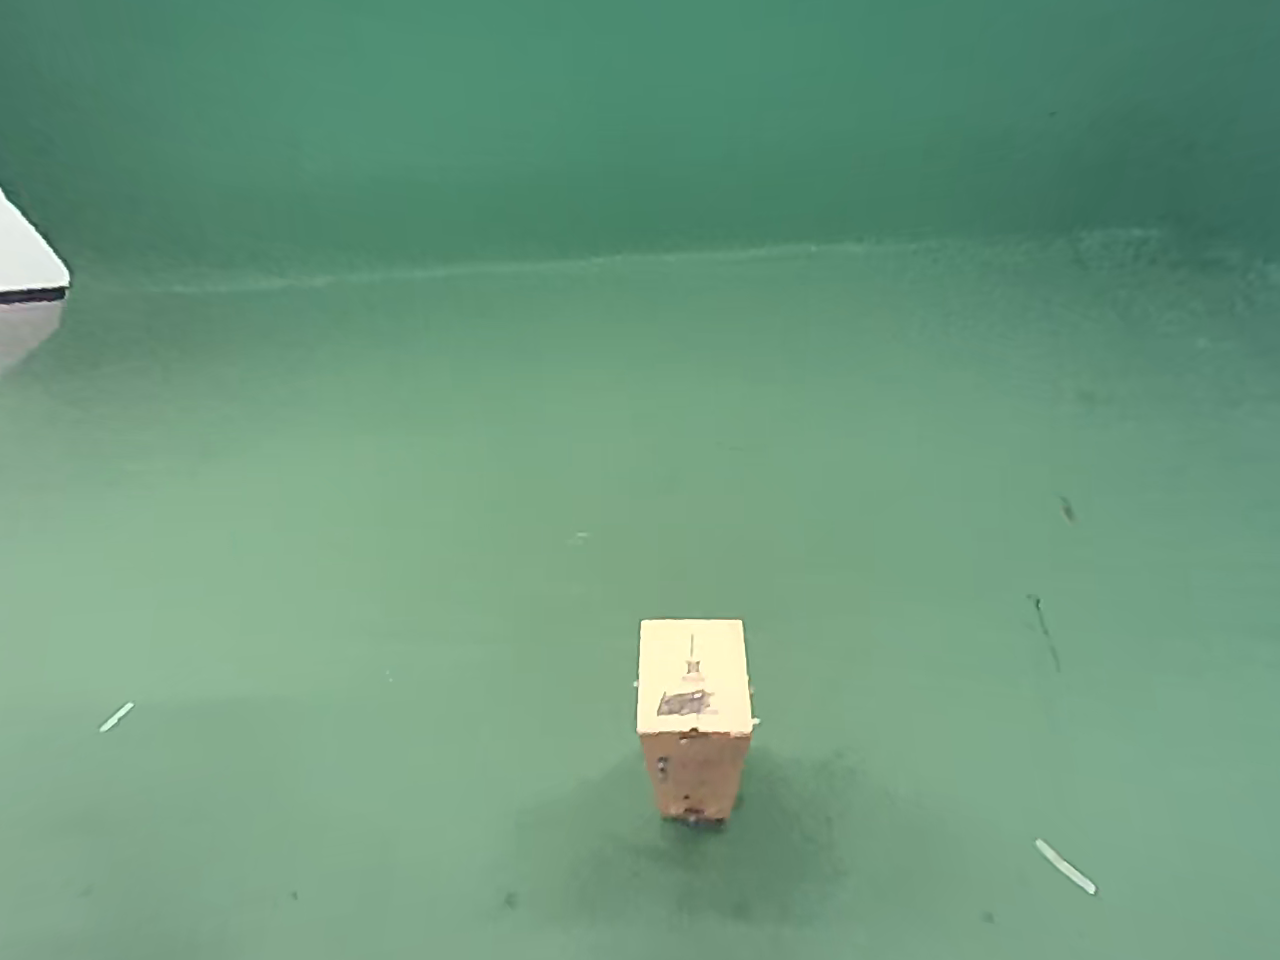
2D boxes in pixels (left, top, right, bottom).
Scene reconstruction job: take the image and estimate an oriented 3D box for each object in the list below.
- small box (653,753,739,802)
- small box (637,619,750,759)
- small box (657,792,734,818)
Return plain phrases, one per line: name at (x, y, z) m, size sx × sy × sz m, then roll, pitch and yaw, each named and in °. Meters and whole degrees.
small box at (0.112, 0.558, 1.134) m, size 0.168 × 0.176 × 0.179 m, roll -2°, pitch 49°, yaw 4°
small box at (0.086, 0.344, 0.885) m, size 0.168 × 0.176 × 0.179 m, roll -1°, pitch 49°, yaw 4°
small box at (0.126, 0.665, 1.256) m, size 0.168 × 0.176 × 0.179 m, roll -1°, pitch 49°, yaw 6°
